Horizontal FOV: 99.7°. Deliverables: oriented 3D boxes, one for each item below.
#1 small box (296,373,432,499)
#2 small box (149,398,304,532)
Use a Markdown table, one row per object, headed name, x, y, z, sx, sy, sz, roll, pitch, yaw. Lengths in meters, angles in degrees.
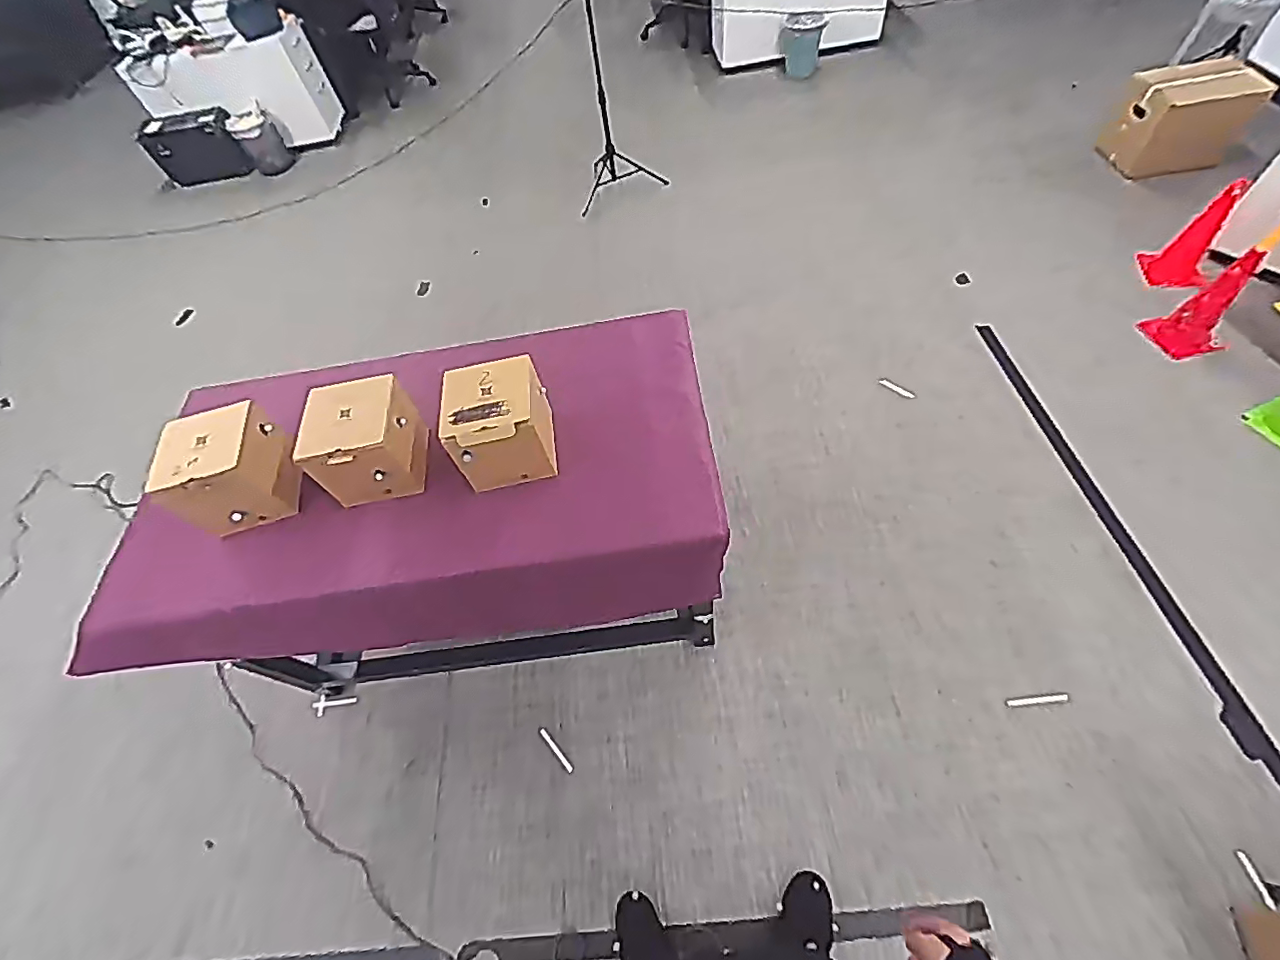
| name | x | y | z | sx | sy | sz | roll | pitch | yaw |
| --- | --- | --- | --- | --- | --- | --- | --- | --- | --- |
| small box | -0.525 | -0.078 | 1.056 | 0.168 | 0.176 | 0.179 | -10 | 56 | 1 |
| small box | -0.790 | -0.026 | 1.059 | 0.168 | 0.176 | 0.179 | -16 | 57 | -2 |
